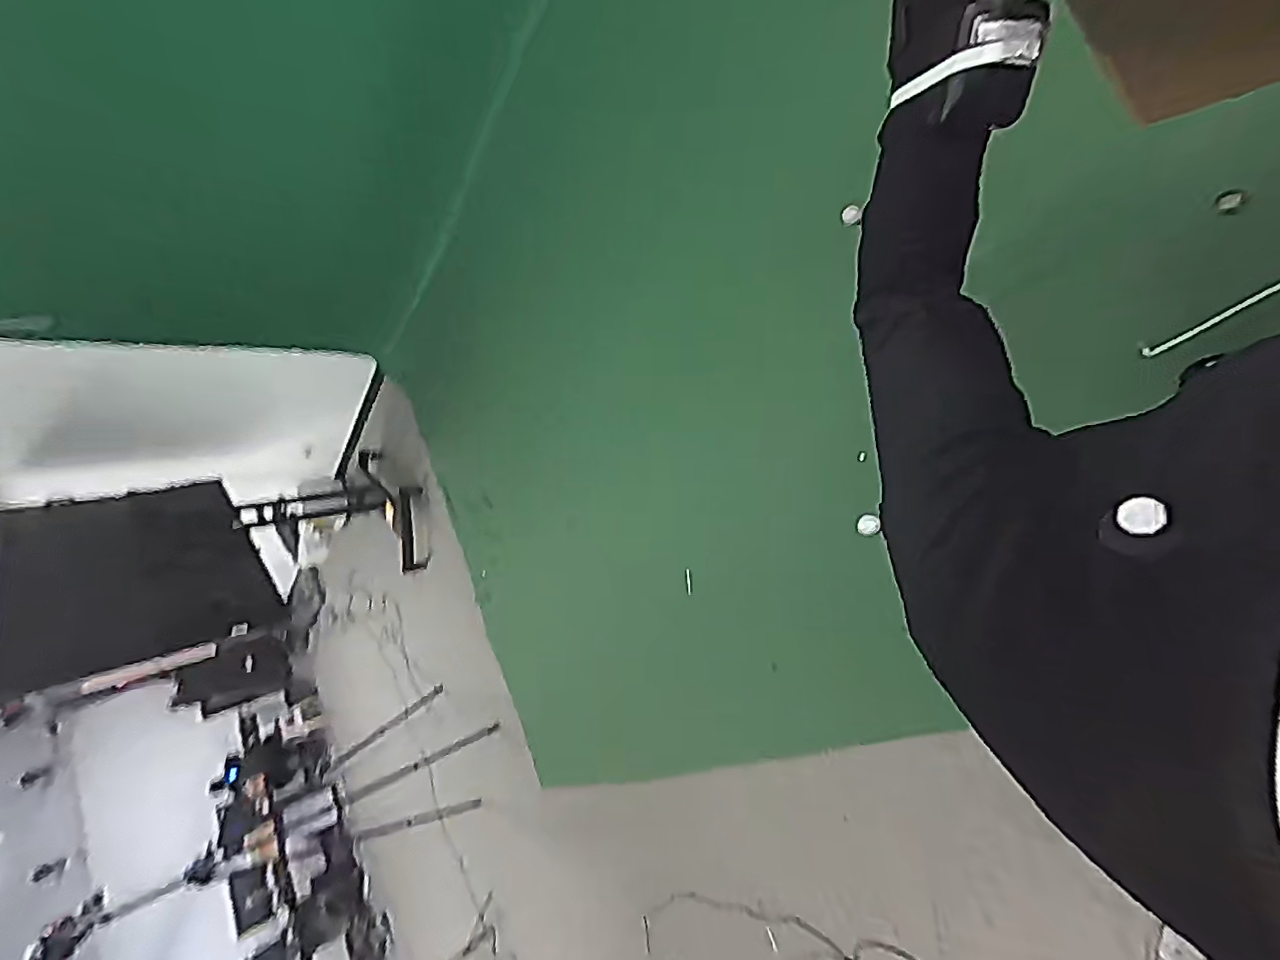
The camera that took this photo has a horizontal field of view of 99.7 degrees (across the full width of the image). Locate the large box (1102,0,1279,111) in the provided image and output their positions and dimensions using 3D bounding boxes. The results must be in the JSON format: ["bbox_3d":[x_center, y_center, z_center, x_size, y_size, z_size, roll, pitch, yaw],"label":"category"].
[{"bbox_3d":[0.486,-0.472,0.255,0.408,0.320,0.320,2,101,47],"label":"large box"}]
